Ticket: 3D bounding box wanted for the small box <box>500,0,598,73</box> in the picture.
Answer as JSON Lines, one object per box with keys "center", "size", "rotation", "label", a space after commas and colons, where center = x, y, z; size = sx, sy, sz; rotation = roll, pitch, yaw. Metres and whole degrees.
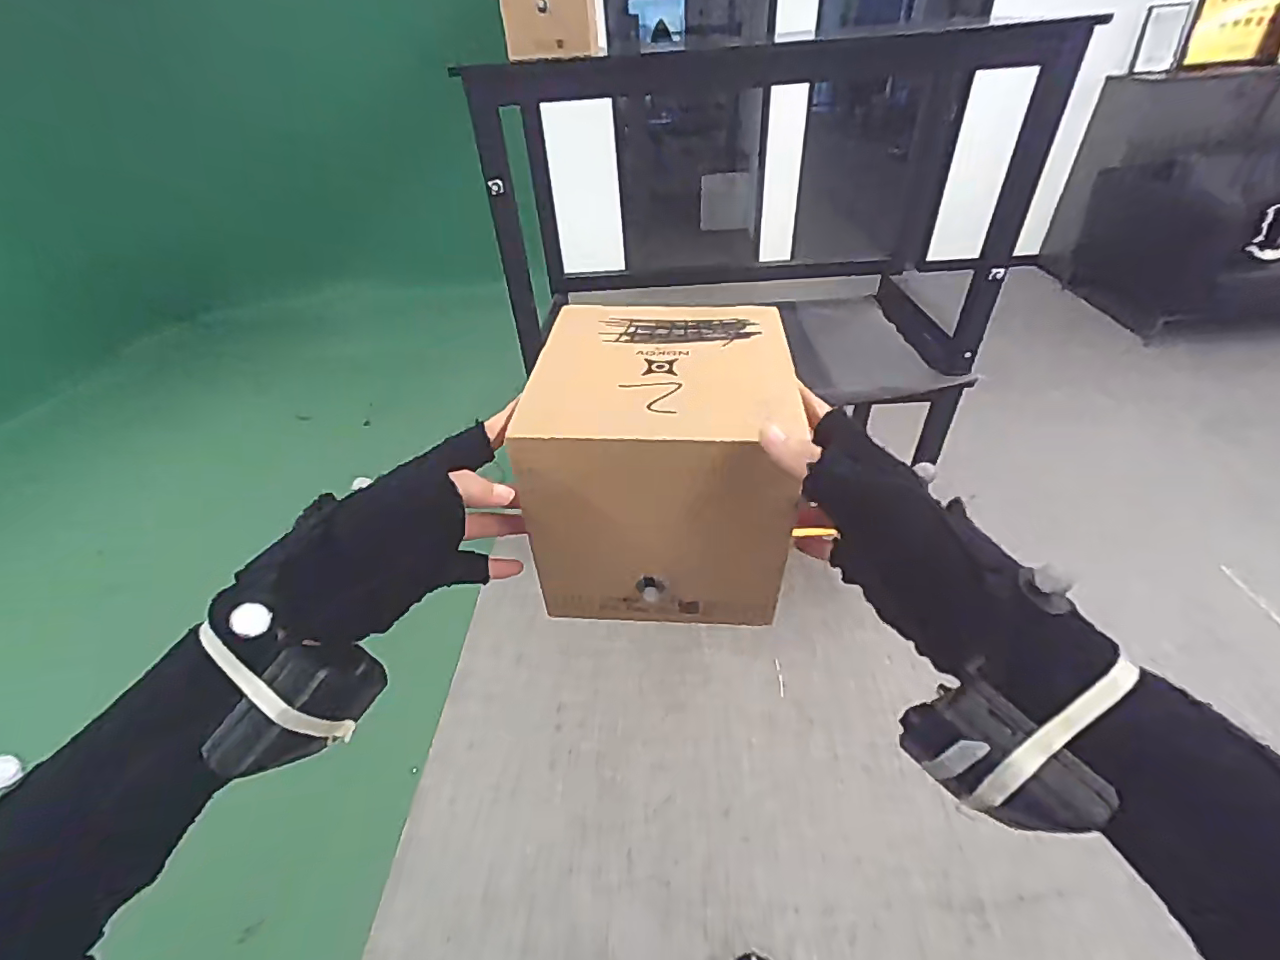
{"center": [-0.177, -0.926, 1.082], "size": [0.168, 0.176, 0.179], "rotation": [-2, 39, 2], "label": "small box"}
